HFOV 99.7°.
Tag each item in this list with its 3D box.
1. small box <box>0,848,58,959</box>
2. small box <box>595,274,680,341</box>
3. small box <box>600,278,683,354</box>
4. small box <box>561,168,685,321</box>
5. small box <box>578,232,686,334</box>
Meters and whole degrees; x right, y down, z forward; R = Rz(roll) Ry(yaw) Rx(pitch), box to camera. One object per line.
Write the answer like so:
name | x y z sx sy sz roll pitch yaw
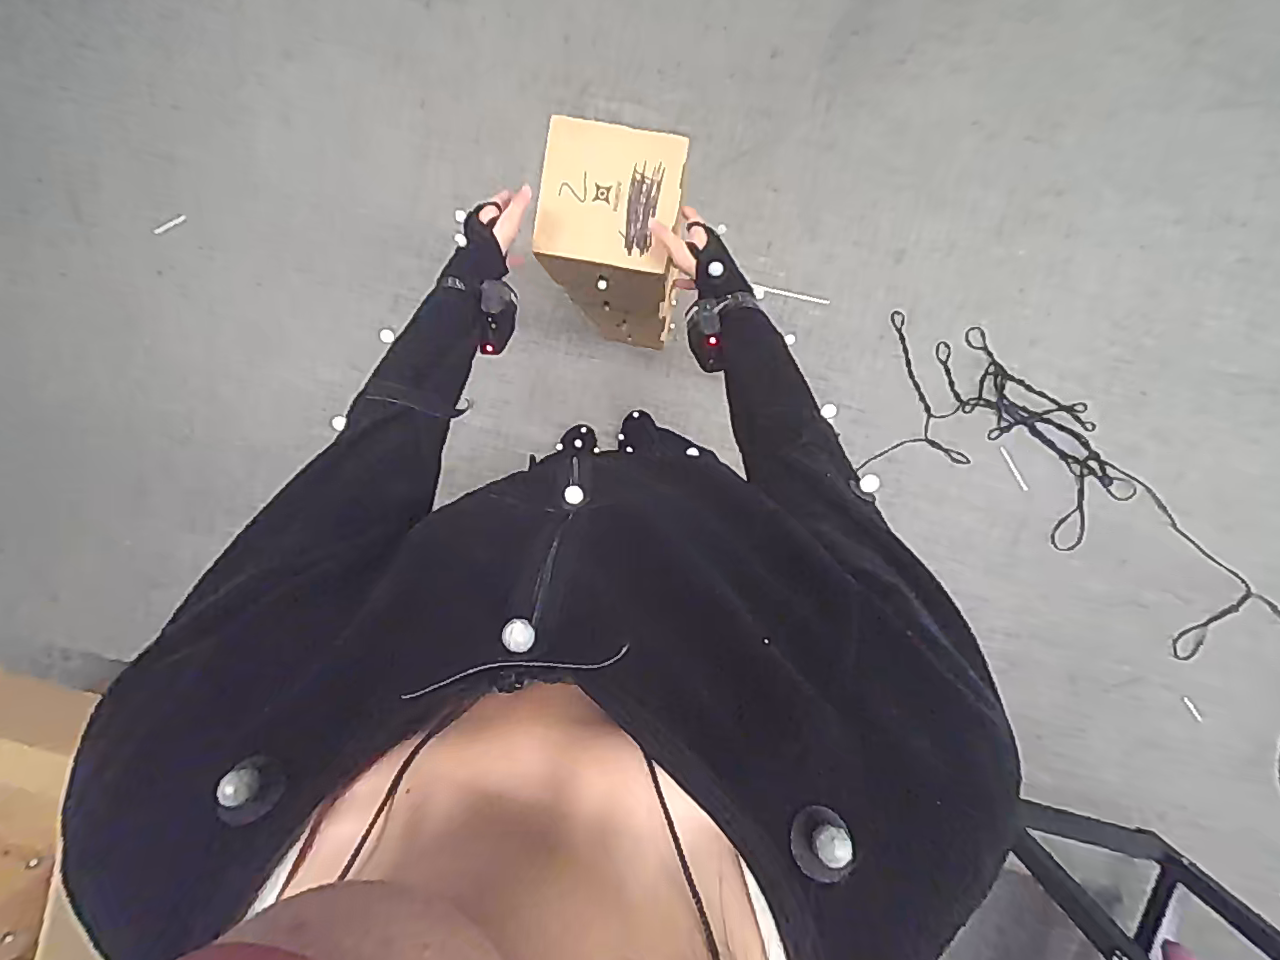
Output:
small box | -1.340 0.886 1.083 0.168 0.176 0.179 16 94 -1
small box | -0.011 -0.423 1.230 0.179 0.176 0.168 13 95 0
small box | 0.003 -0.432 1.393 0.179 0.176 0.168 13 94 0
small box | -0.025 -0.382 0.906 0.168 0.176 0.179 11 96 1
small box | -0.014 -0.396 1.069 0.179 0.176 0.168 11 95 0
